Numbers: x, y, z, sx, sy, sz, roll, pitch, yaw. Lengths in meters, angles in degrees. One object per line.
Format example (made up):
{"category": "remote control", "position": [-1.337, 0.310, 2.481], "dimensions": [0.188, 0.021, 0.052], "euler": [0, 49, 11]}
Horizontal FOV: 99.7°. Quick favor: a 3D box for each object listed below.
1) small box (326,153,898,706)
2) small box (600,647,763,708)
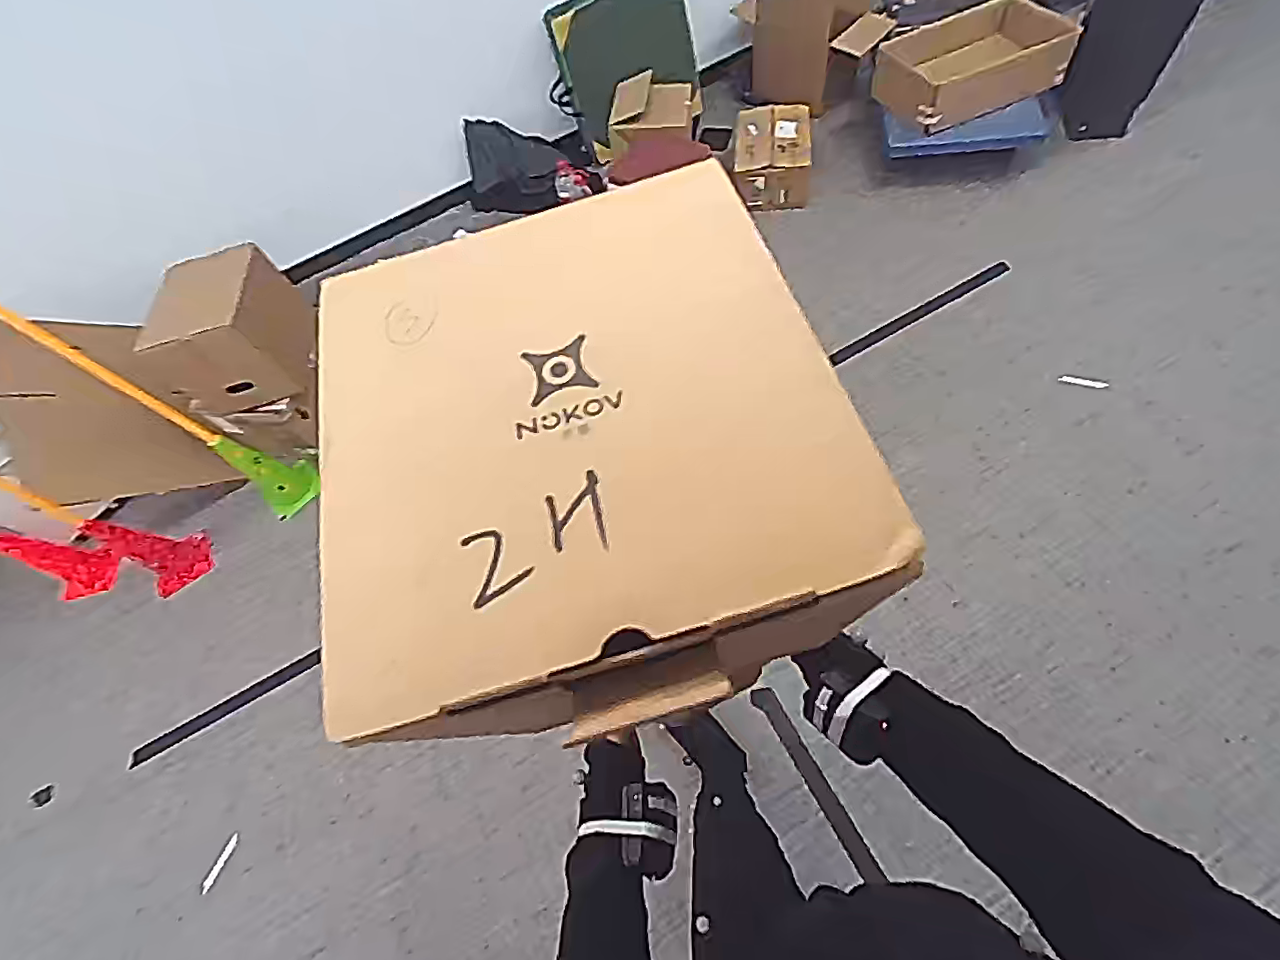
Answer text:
{"category": "small box", "position": [-0.017, -0.004, 0.257], "dimensions": [0.168, 0.176, 0.179], "euler": [-17, 65, 1]}
{"category": "small box", "position": [0.025, 0.117, 0.558], "dimensions": [0.168, 0.176, 0.179], "euler": [-24, 65, -2]}
